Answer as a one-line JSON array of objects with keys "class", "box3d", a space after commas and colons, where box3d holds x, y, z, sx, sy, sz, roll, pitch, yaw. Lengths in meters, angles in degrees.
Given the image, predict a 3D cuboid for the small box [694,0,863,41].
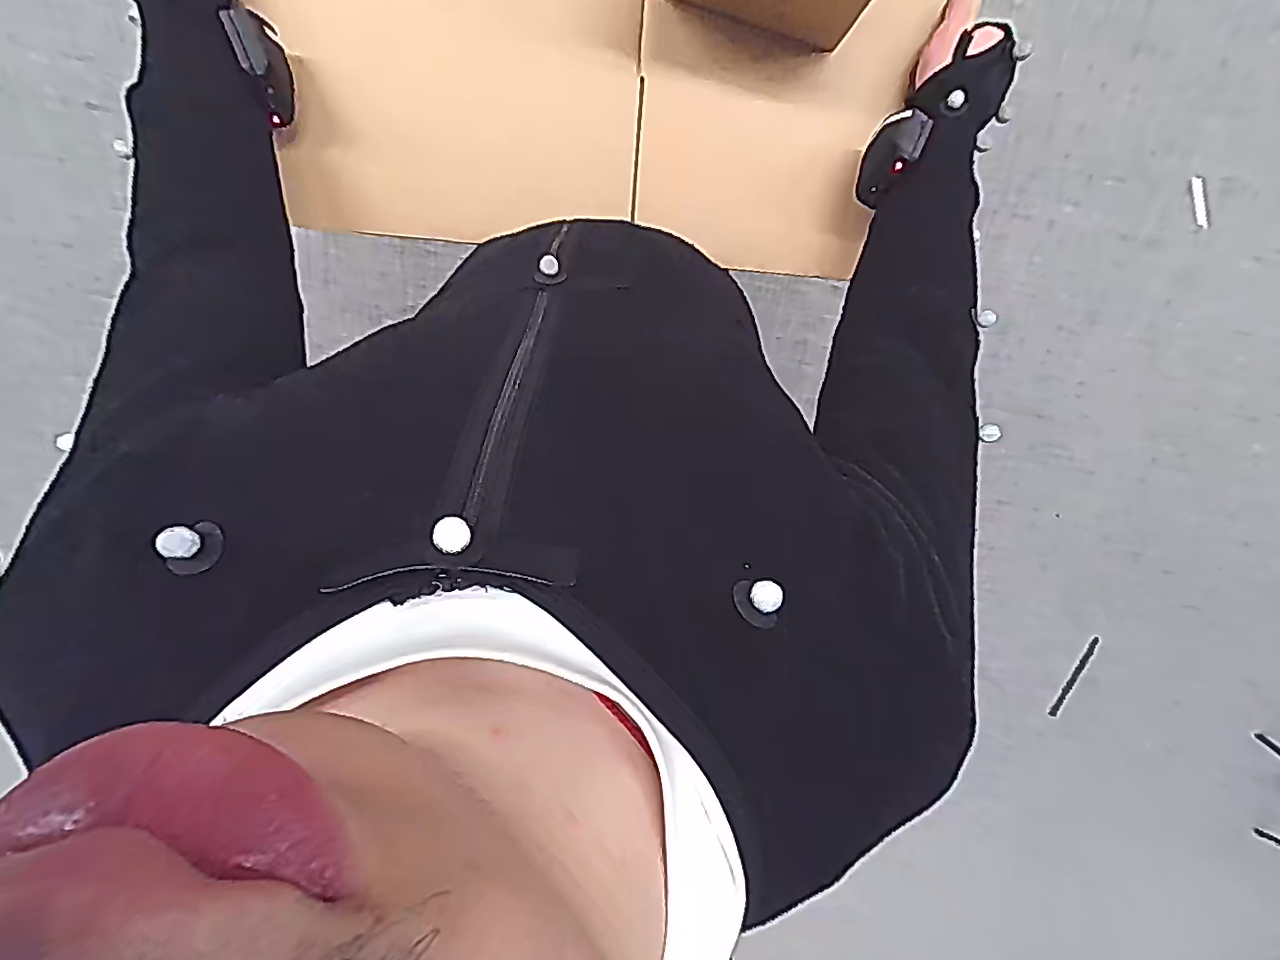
[{"class": "small box", "box3d": [0.118, -0.468, 0.393, 0.179, 0.176, 0.168, 15, 108, -4]}]
